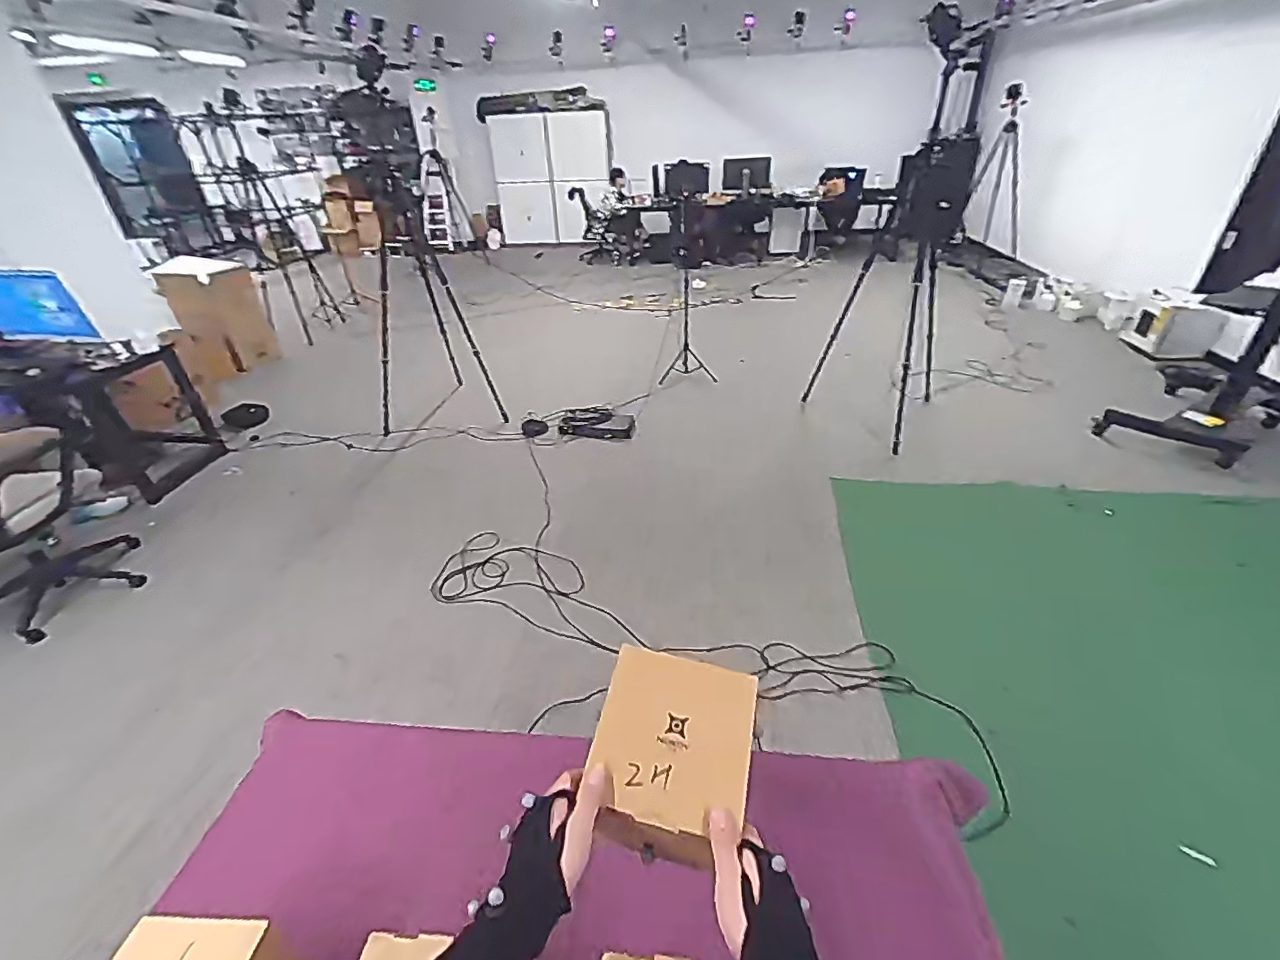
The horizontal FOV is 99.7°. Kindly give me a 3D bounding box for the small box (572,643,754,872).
[{"bbox_3d":[0.029,0.326,0.638,0.168,0.176,0.179,12,48,10],"label":"small box"}]

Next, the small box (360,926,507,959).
[{"bbox_3d":[-0.248,0.658,0.619,0.168,0.176,0.179,0,34,8],"label":"small box"}]

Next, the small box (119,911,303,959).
[{"bbox_3d":[-0.534,0.657,0.644,0.168,0.176,0.179,-1,32,4],"label":"small box"}]
